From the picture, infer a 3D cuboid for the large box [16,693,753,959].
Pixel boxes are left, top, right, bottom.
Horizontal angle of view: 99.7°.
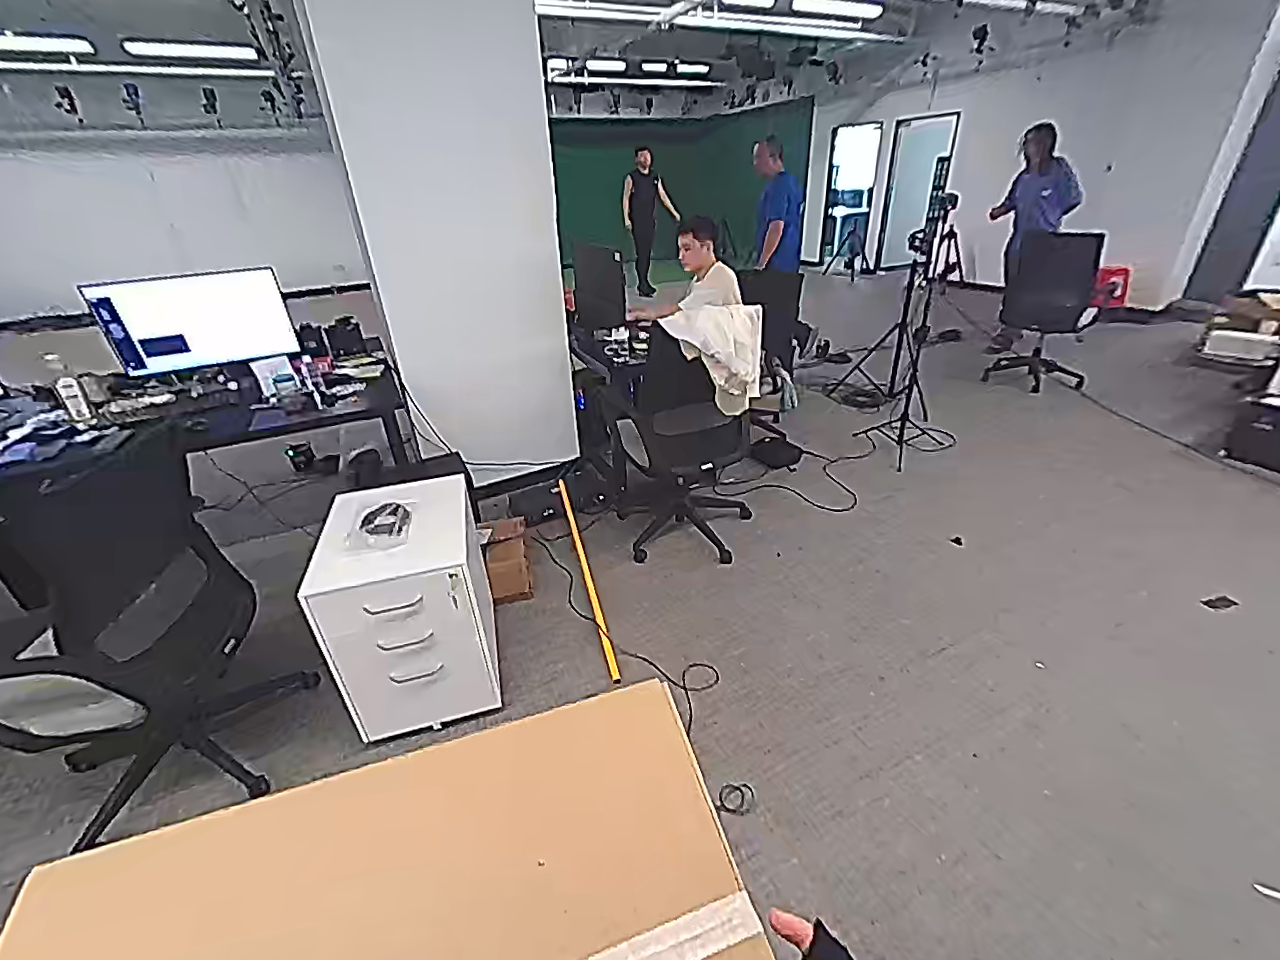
[{"bbox_3d":[-0.130,0.414,0.378,0.408,0.320,0.320,-11,43,-15],"label":"large box"}]
